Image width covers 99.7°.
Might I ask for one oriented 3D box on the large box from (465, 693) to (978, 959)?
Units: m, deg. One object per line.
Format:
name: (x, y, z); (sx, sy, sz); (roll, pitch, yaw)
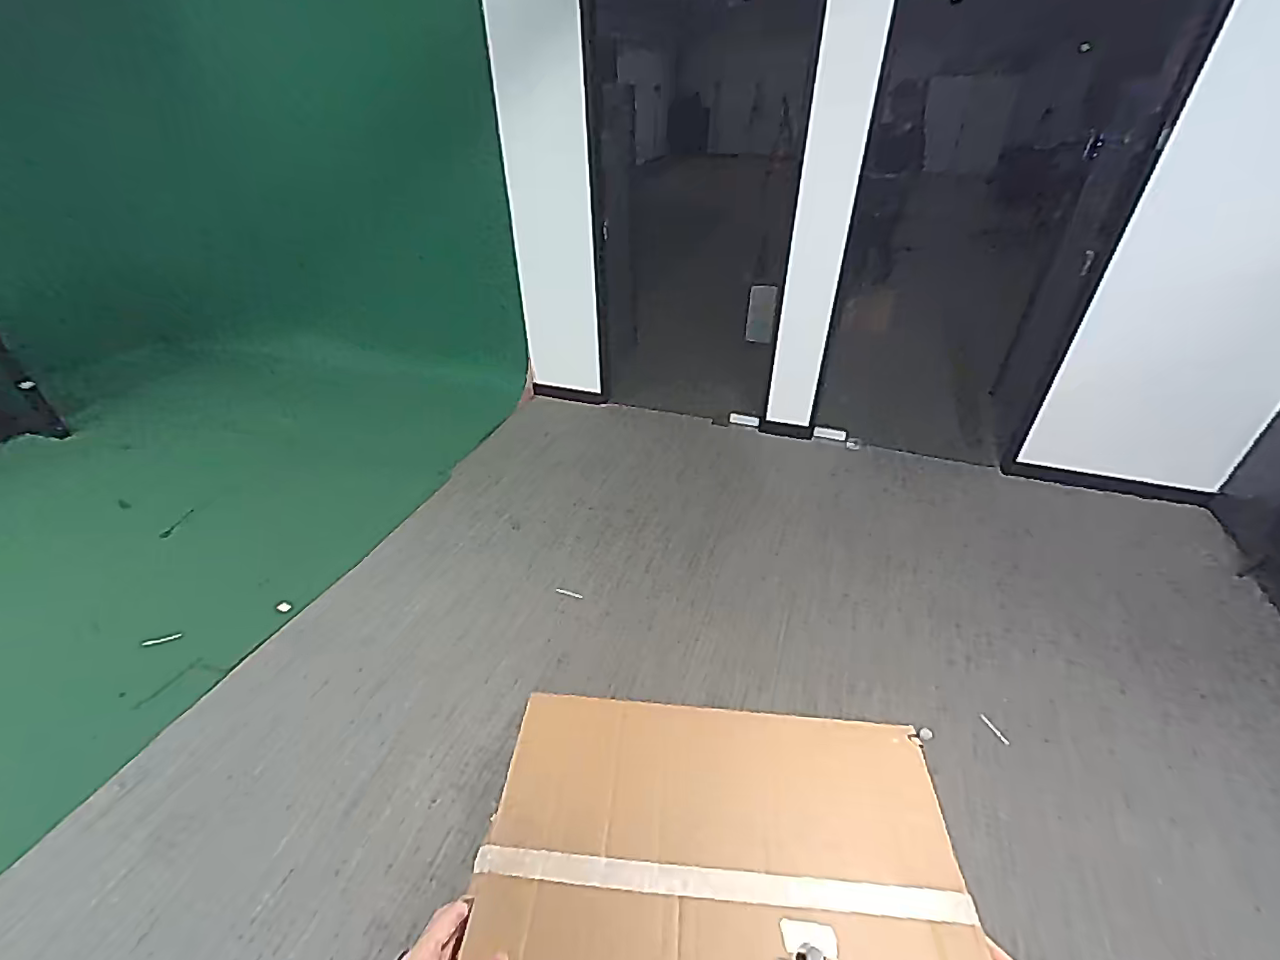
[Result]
large box: (0.063, 0.455, 0.549); (0.408, 0.320, 0.320); (4, 38, 3)
